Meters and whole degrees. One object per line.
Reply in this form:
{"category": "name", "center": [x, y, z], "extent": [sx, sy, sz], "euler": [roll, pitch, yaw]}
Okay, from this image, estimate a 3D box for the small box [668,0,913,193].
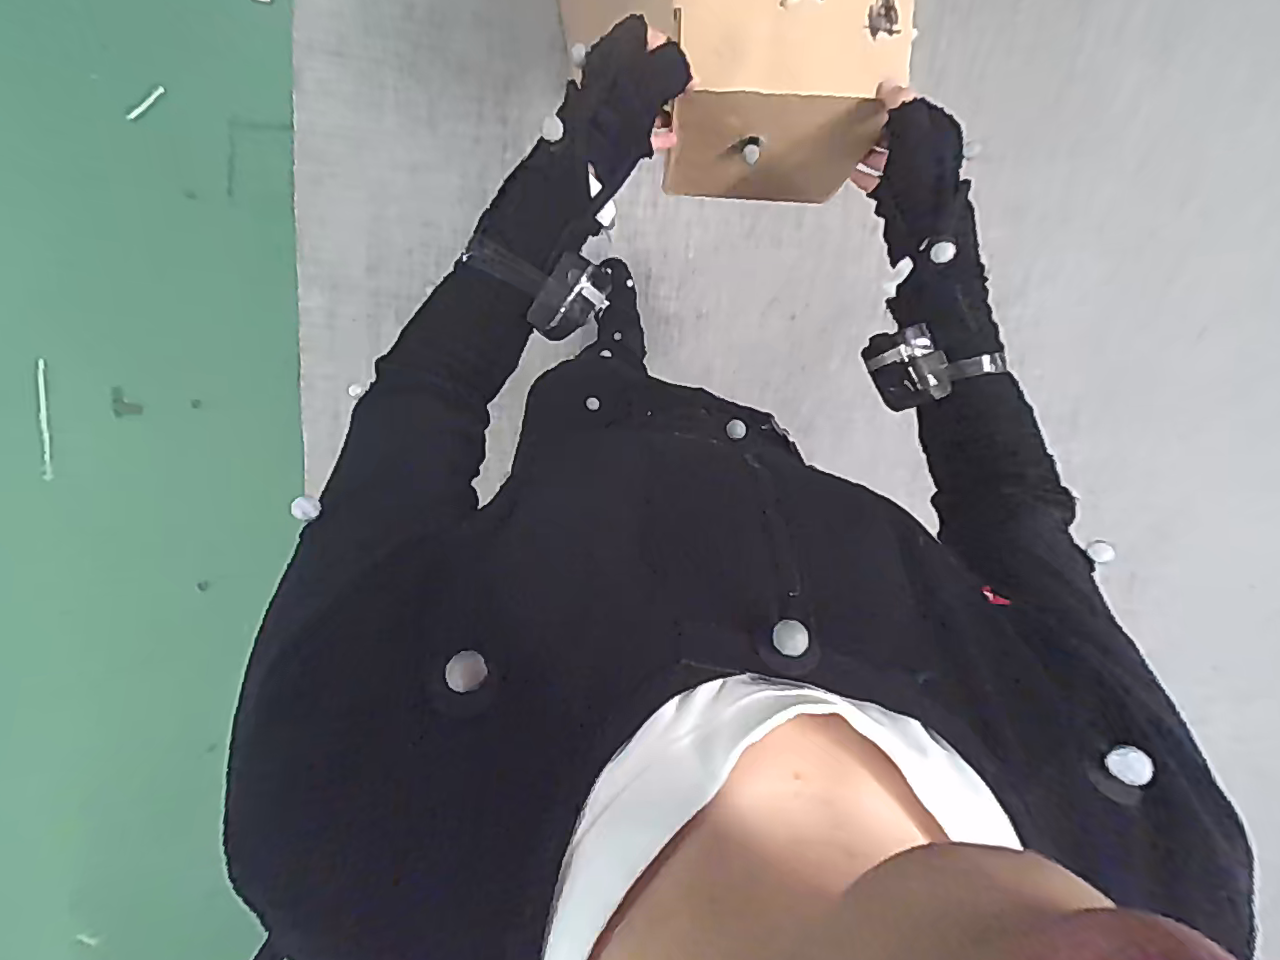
{"category": "small box", "center": [0.117, -0.379, 0.480], "extent": [0.179, 0.176, 0.168], "euler": [3, 93, 0]}
